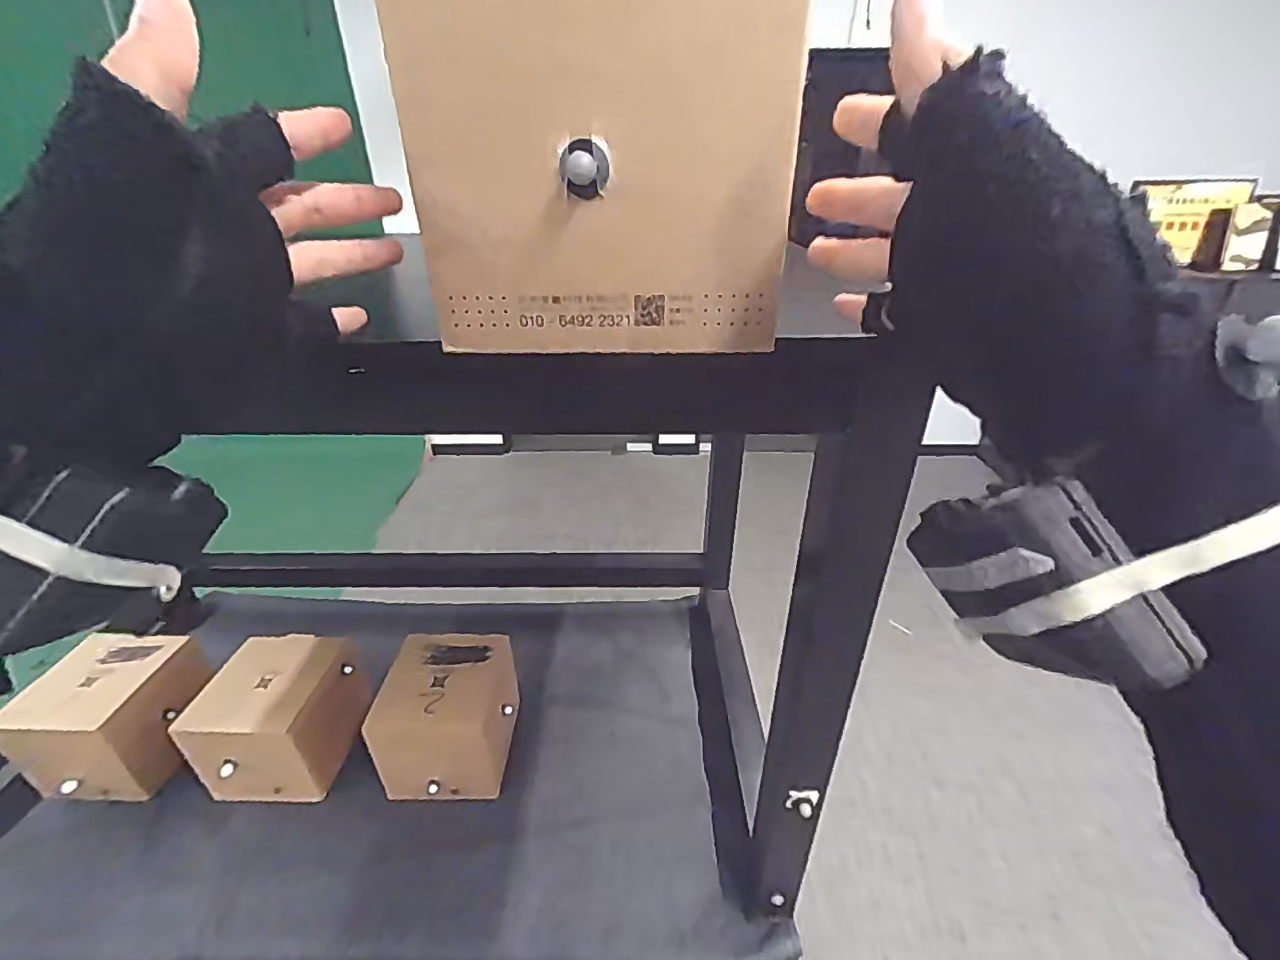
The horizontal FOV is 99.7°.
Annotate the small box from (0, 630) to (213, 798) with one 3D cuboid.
[{"bbox_3d":[-0.807,0.360,0.844,0.168,0.176,0.179,1,30,1],"label":"small box"}]

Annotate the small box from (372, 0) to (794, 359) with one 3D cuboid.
[{"bbox_3d":[-0.015,-0.172,0.304,0.168,0.176,0.179,1,30,2],"label":"small box"}]

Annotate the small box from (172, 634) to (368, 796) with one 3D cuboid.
[{"bbox_3d":[-0.554,0.364,0.844,0.168,0.176,0.179,1,29,1],"label":"small box"}]
